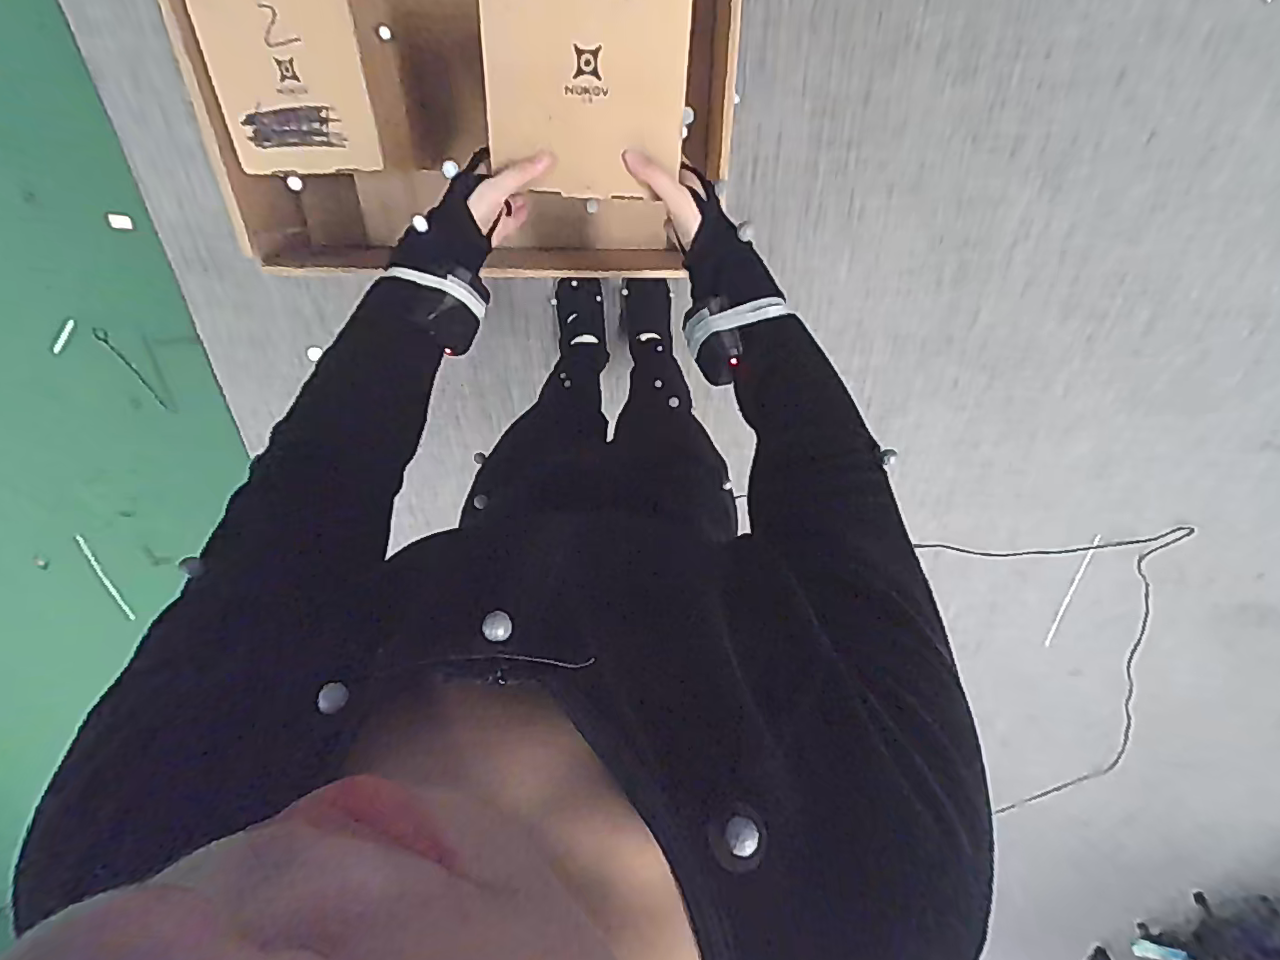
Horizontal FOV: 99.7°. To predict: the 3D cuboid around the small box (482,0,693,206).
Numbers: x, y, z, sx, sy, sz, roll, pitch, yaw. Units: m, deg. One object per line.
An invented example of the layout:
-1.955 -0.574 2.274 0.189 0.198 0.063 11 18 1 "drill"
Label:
-0.043 -0.366 0.510 0.168 0.176 0.179 3 119 -2 "small box"
